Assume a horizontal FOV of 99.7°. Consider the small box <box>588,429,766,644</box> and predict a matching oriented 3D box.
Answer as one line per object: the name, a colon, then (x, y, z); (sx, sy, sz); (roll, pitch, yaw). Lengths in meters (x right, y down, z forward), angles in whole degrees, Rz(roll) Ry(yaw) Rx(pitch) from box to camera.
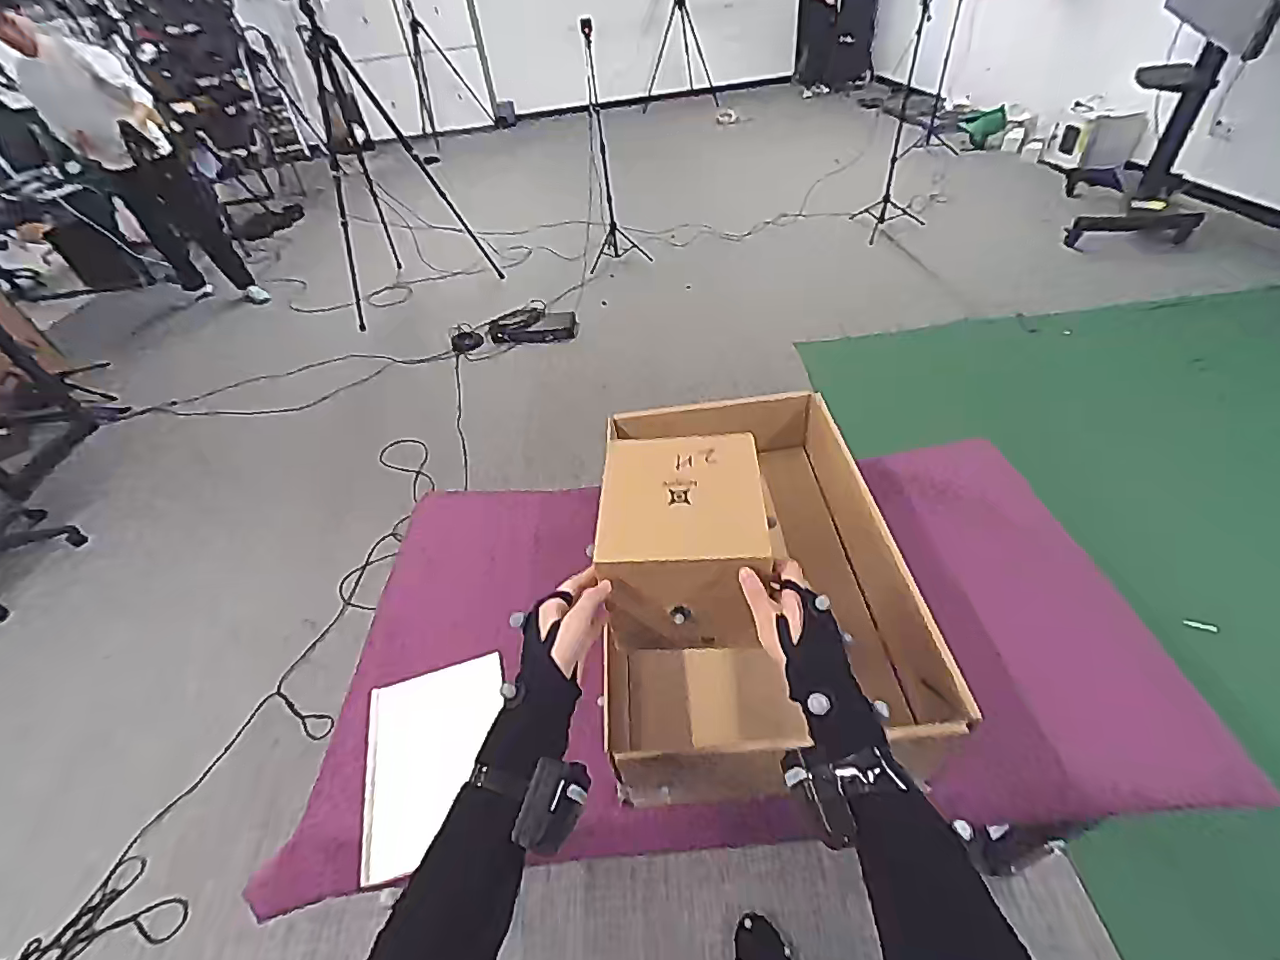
small box: (0.047, 0.067, 0.597); (0.168, 0.176, 0.179); (-3, 44, 7)
